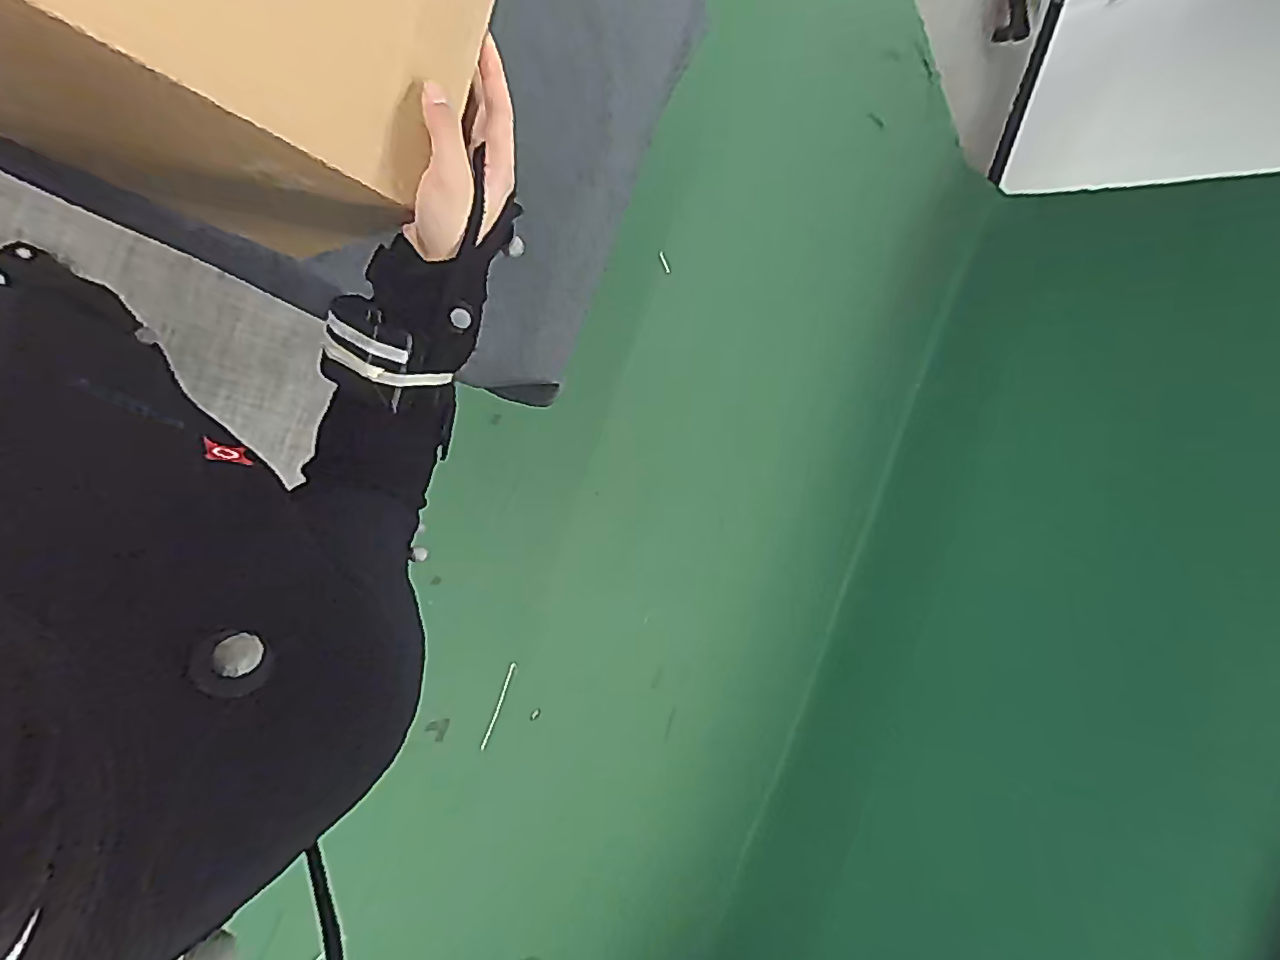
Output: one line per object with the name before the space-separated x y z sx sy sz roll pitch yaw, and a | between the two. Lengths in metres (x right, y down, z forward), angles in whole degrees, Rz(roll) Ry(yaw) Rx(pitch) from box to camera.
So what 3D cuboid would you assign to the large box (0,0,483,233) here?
large box | -0.330 -0.389 0.295 0.408 0.320 0.320 14 93 -48
